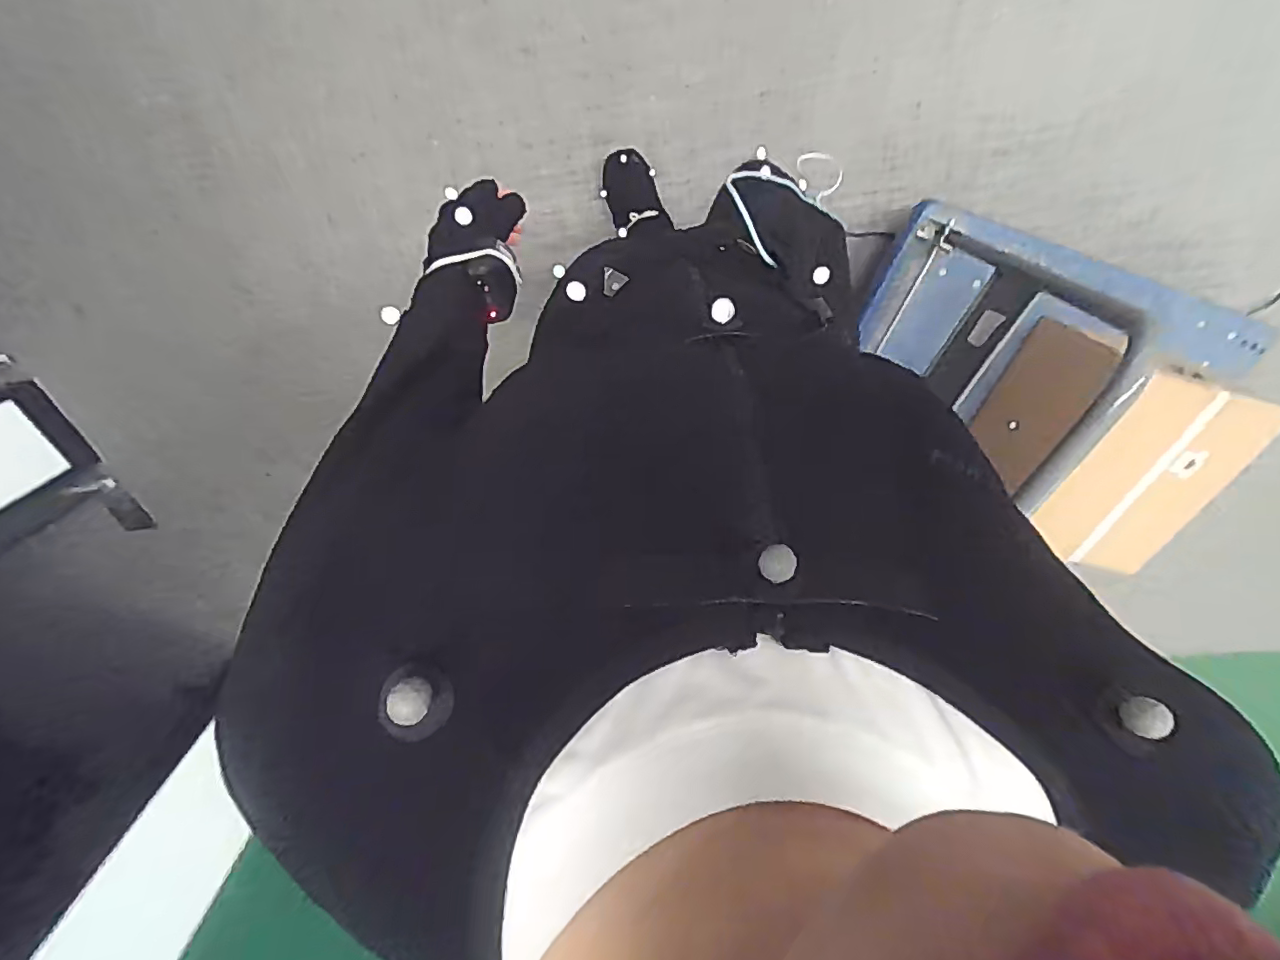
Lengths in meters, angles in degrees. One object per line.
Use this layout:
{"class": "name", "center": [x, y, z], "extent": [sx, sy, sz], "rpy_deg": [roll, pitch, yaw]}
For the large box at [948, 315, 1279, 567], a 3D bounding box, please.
{"class": "large box", "center": [0.952, -0.086, 1.152], "extent": [0.320, 0.320, 0.408], "rpy_deg": [12, 123, -5]}
